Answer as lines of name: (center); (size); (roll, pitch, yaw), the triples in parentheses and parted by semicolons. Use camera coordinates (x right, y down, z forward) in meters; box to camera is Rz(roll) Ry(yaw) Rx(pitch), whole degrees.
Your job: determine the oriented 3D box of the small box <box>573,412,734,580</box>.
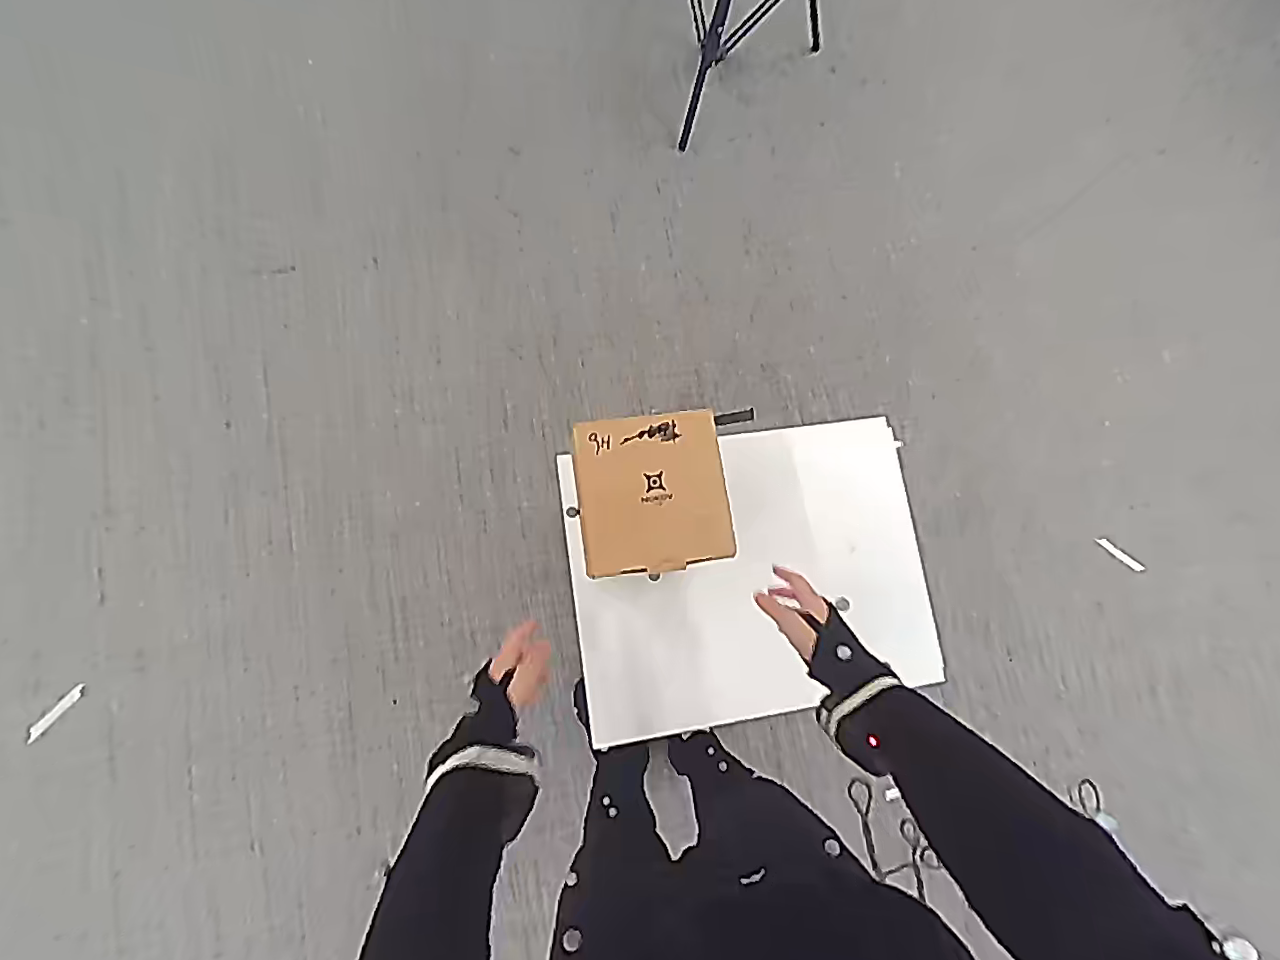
small box: (0.006, 0.025, 0.687); (0.168, 0.176, 0.179); (-7, 83, -9)
